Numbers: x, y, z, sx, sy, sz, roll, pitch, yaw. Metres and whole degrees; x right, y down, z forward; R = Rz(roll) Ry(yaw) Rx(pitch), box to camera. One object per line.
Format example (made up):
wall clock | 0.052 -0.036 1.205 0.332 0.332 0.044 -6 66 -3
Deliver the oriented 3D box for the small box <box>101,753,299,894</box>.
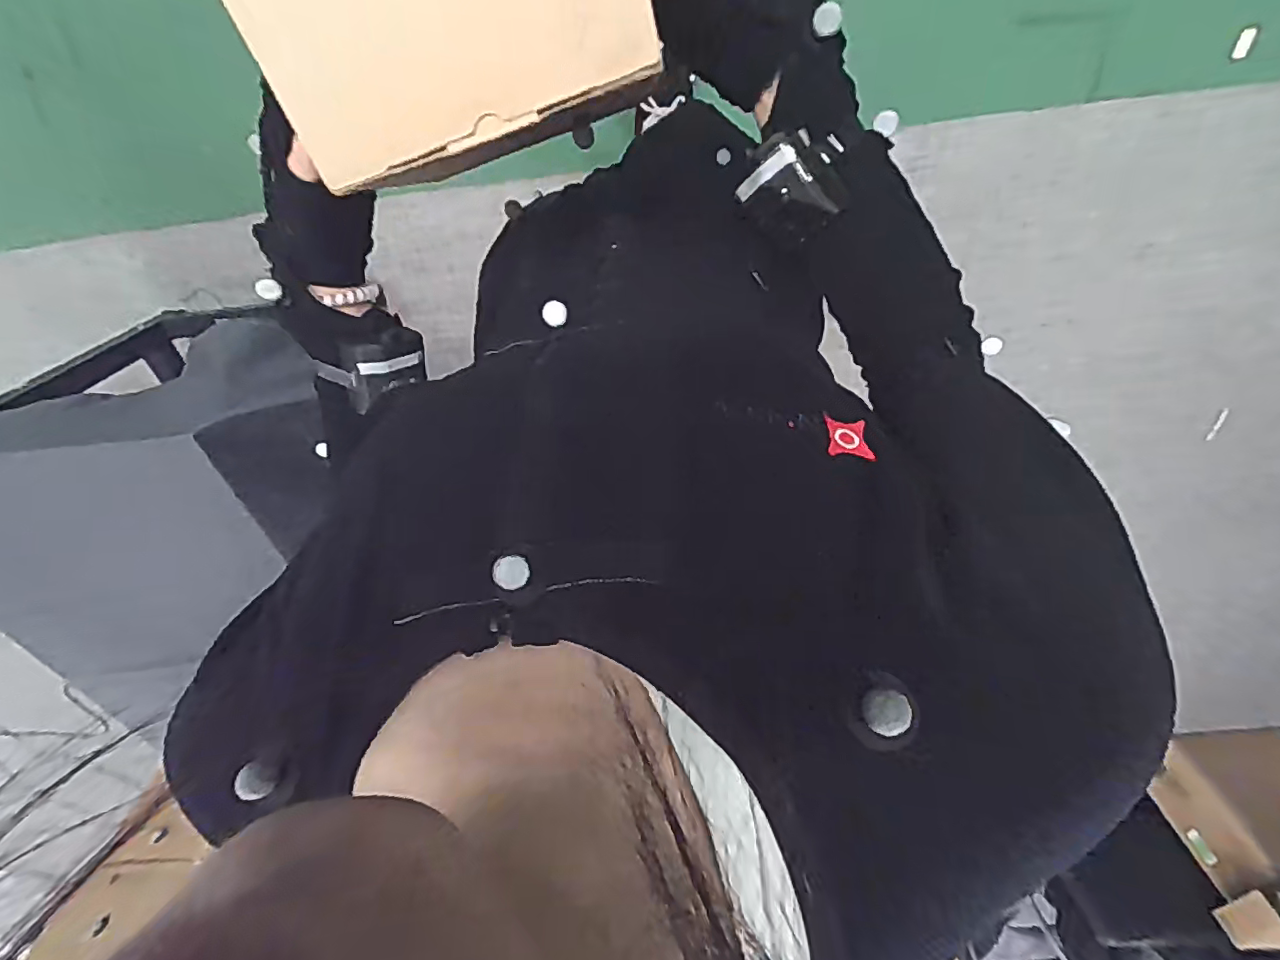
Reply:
small box | -0.759 0.609 0.957 0.179 0.176 0.168 -6 126 3

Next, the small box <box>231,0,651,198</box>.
small box | -0.097 -0.271 0.278 0.168 0.176 0.179 -16 121 7

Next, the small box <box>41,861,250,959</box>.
small box | -0.754 0.704 0.824 0.168 0.176 0.179 -5 126 3
